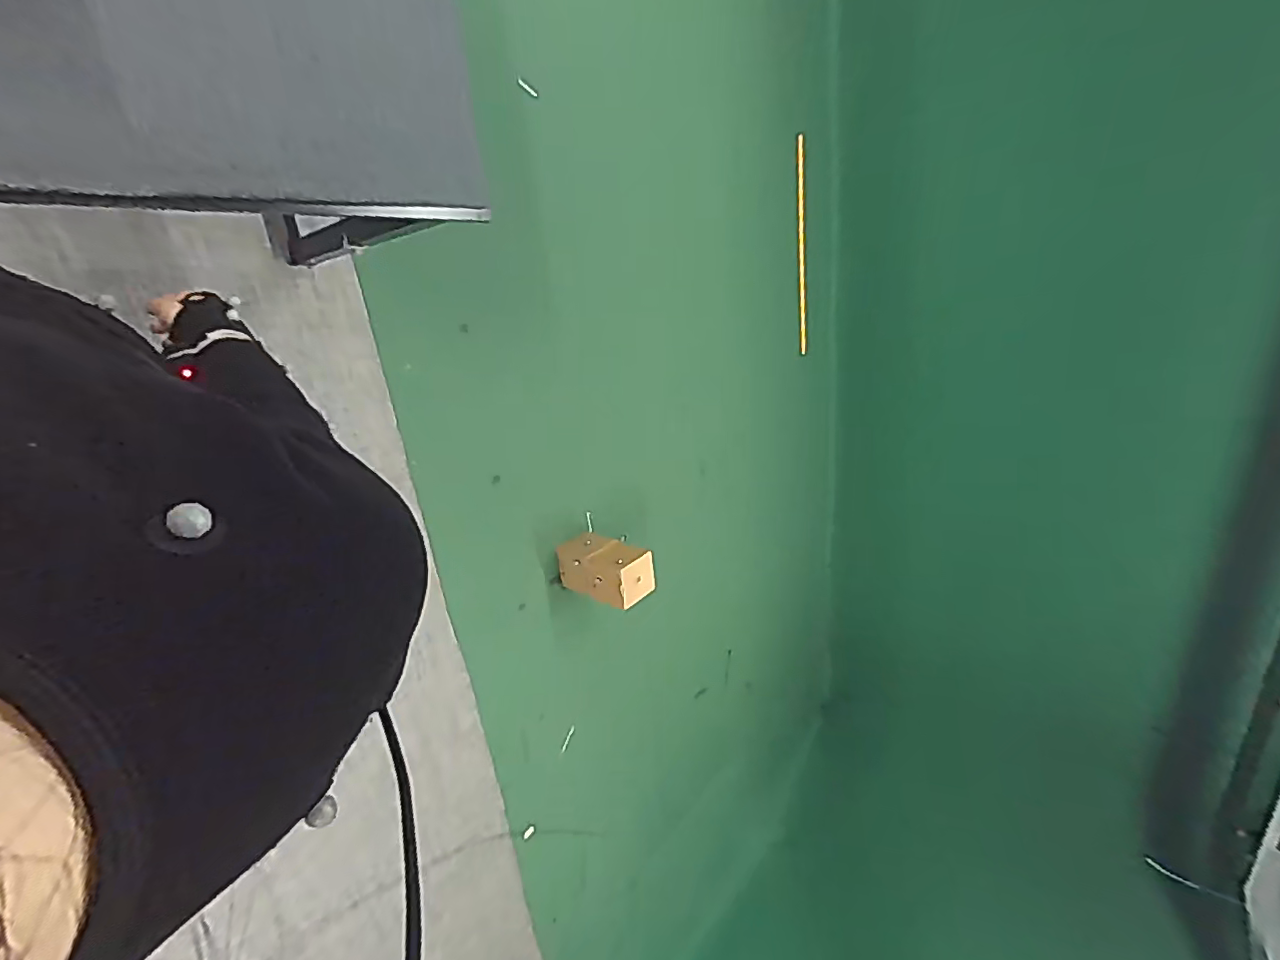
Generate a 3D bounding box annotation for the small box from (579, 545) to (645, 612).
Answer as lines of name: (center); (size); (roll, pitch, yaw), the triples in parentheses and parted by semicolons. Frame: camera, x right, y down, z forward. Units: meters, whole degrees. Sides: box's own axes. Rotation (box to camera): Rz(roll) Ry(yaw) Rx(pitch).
small box: (-0.102, 0.356, 1.995); (0.179, 0.176, 0.168); (-26, 118, -45)
